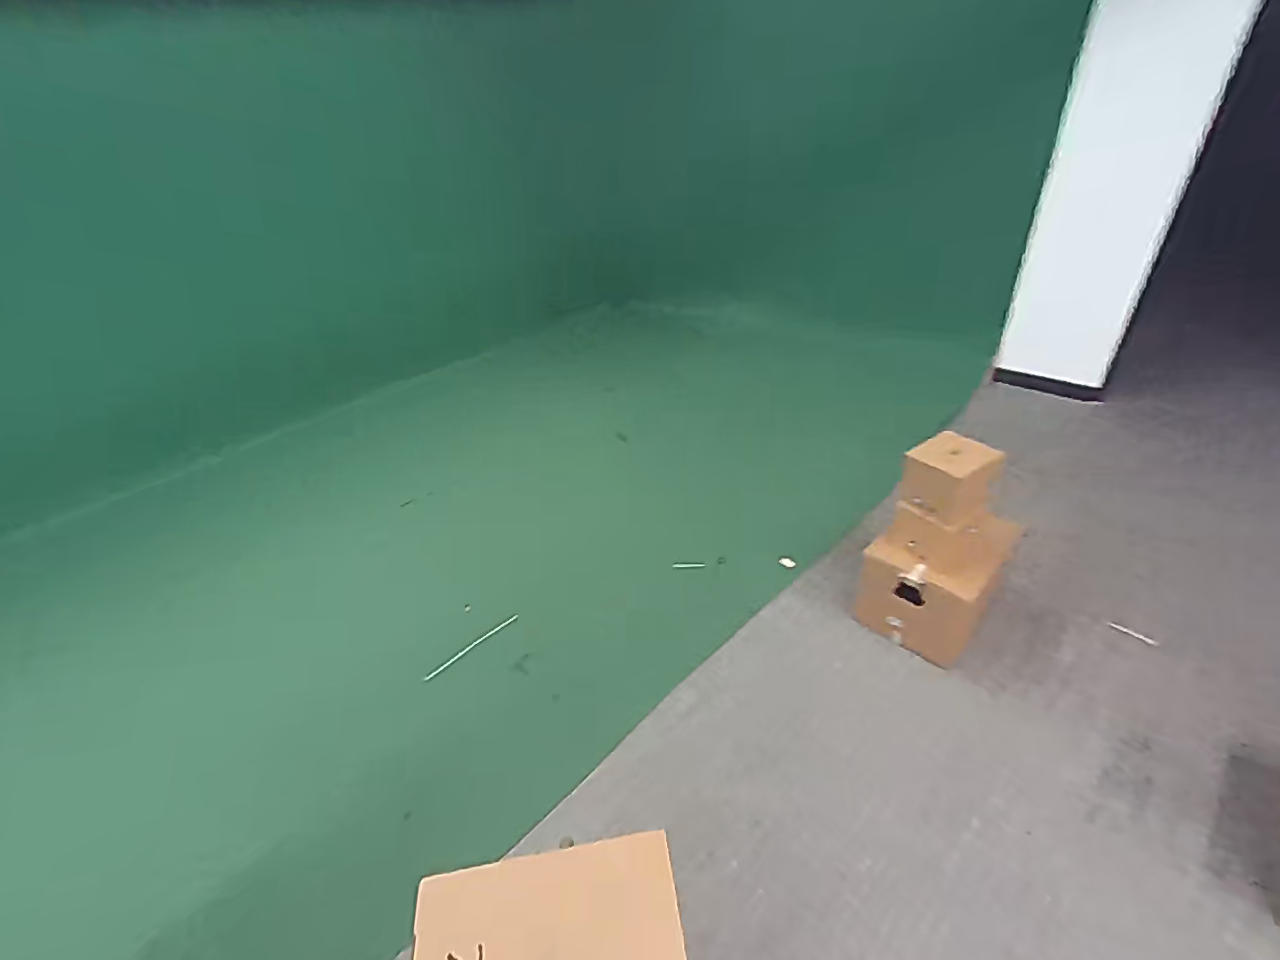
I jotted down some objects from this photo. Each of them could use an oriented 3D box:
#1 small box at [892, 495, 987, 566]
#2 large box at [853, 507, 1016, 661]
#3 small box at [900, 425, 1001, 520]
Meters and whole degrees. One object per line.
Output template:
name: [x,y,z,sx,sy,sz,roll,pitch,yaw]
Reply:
small box: [0.863,0.115,1.576,0.179,0.176,0.168,-27,38,-22]
large box: [0.935,0.288,1.740,0.408,0.320,0.320,-33,43,-31]
small box: [0.844,-0.022,1.489,0.179,0.176,0.168,-25,37,-19]
